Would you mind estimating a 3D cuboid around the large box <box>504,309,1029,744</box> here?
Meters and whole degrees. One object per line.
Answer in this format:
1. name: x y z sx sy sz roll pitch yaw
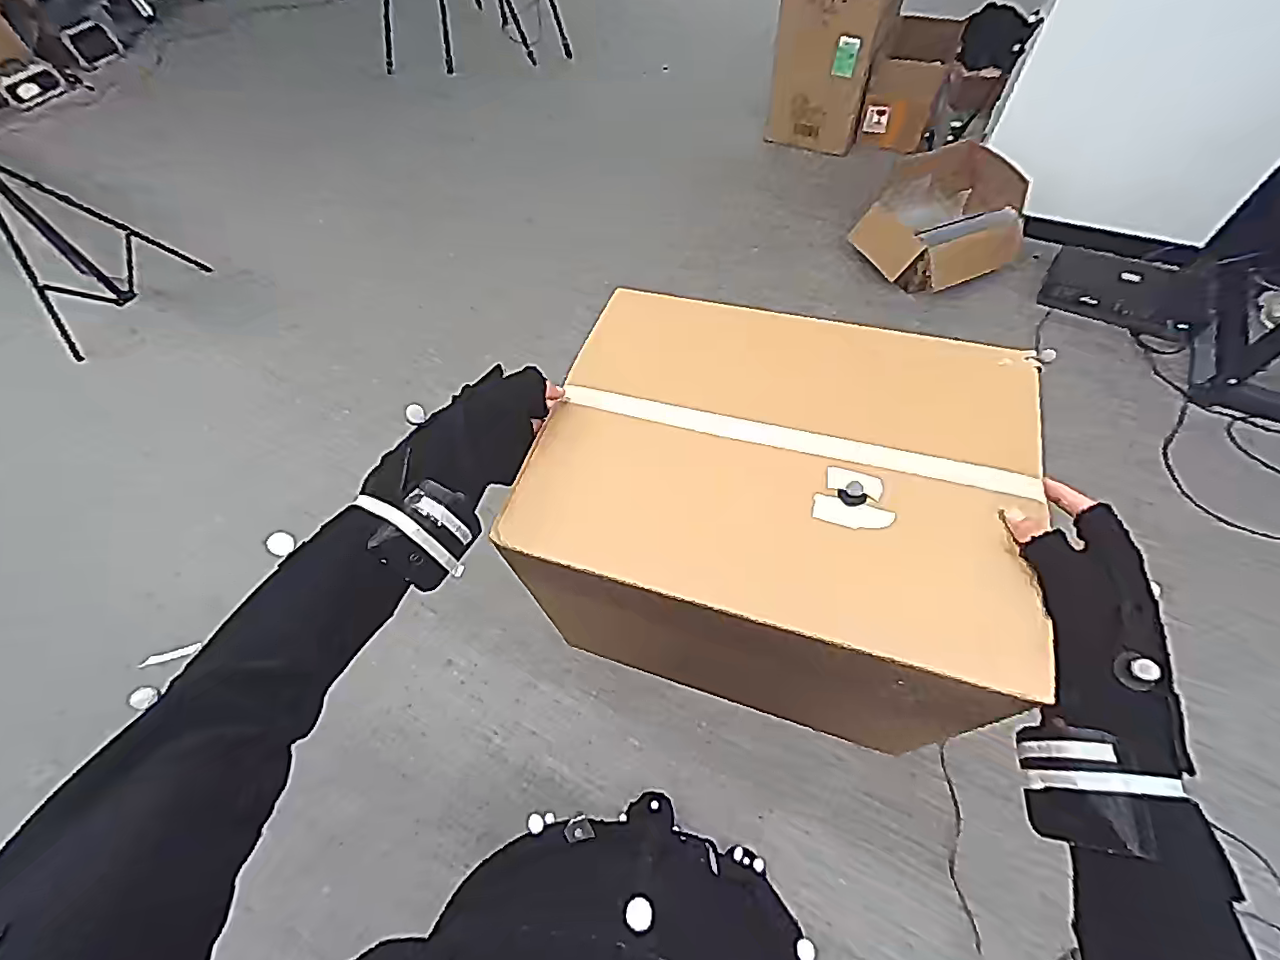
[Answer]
1. large box: 0.127 0.054 0.603 0.408 0.320 0.320 14 60 14
